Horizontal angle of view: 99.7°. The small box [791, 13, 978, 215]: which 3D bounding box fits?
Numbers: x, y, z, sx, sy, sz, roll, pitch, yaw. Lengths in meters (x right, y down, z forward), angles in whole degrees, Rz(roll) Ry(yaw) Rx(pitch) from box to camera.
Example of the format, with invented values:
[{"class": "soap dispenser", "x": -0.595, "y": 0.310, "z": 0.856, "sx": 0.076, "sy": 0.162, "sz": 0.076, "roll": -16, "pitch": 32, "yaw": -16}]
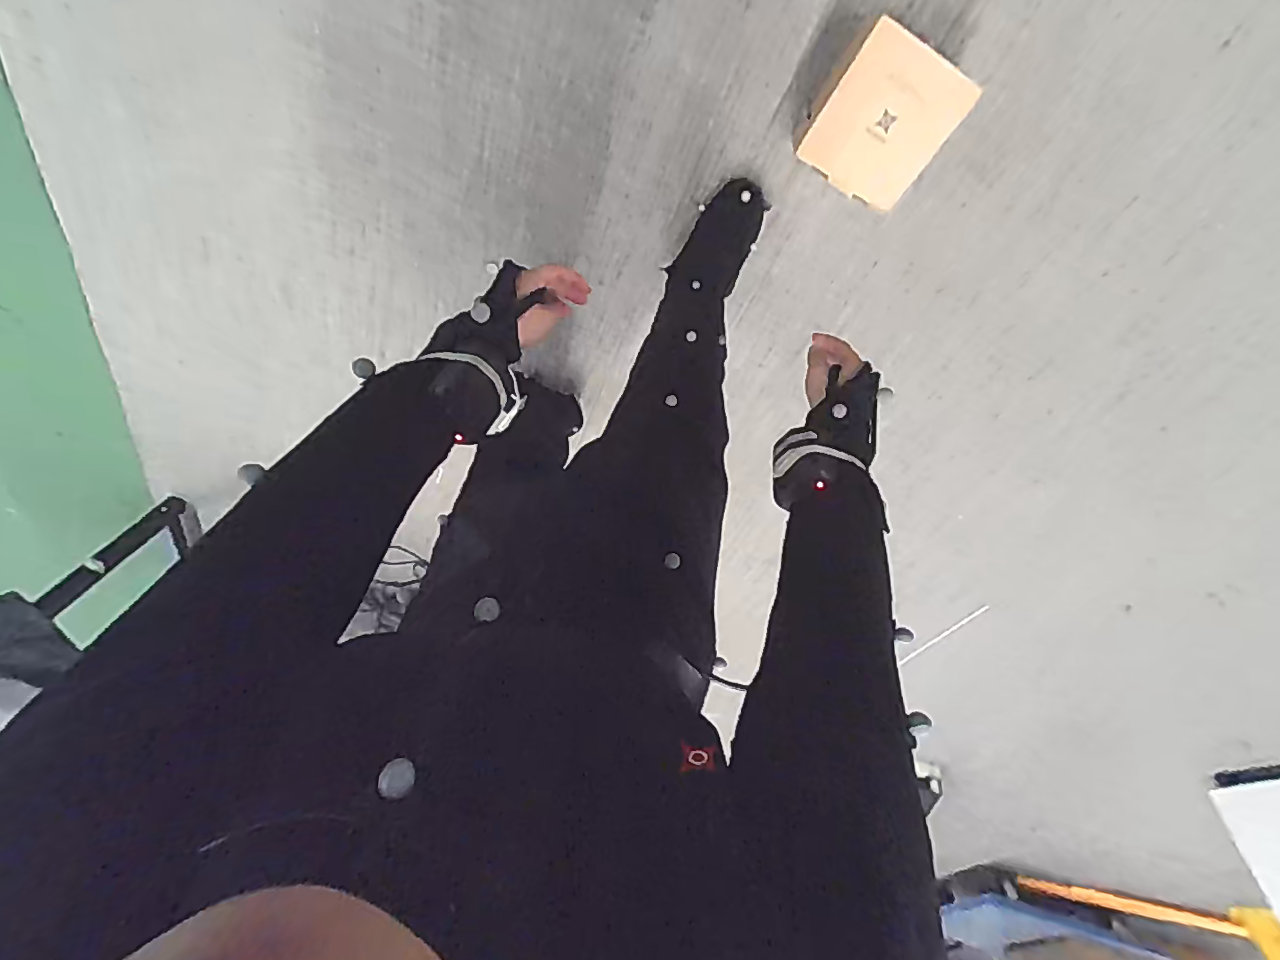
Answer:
[{"class": "small box", "x": 0.338, "y": -0.529, "z": 0.785, "sx": 0.168, "sy": 0.176, "sz": 0.179, "roll": 27, "pitch": 130, "yaw": -10}]
